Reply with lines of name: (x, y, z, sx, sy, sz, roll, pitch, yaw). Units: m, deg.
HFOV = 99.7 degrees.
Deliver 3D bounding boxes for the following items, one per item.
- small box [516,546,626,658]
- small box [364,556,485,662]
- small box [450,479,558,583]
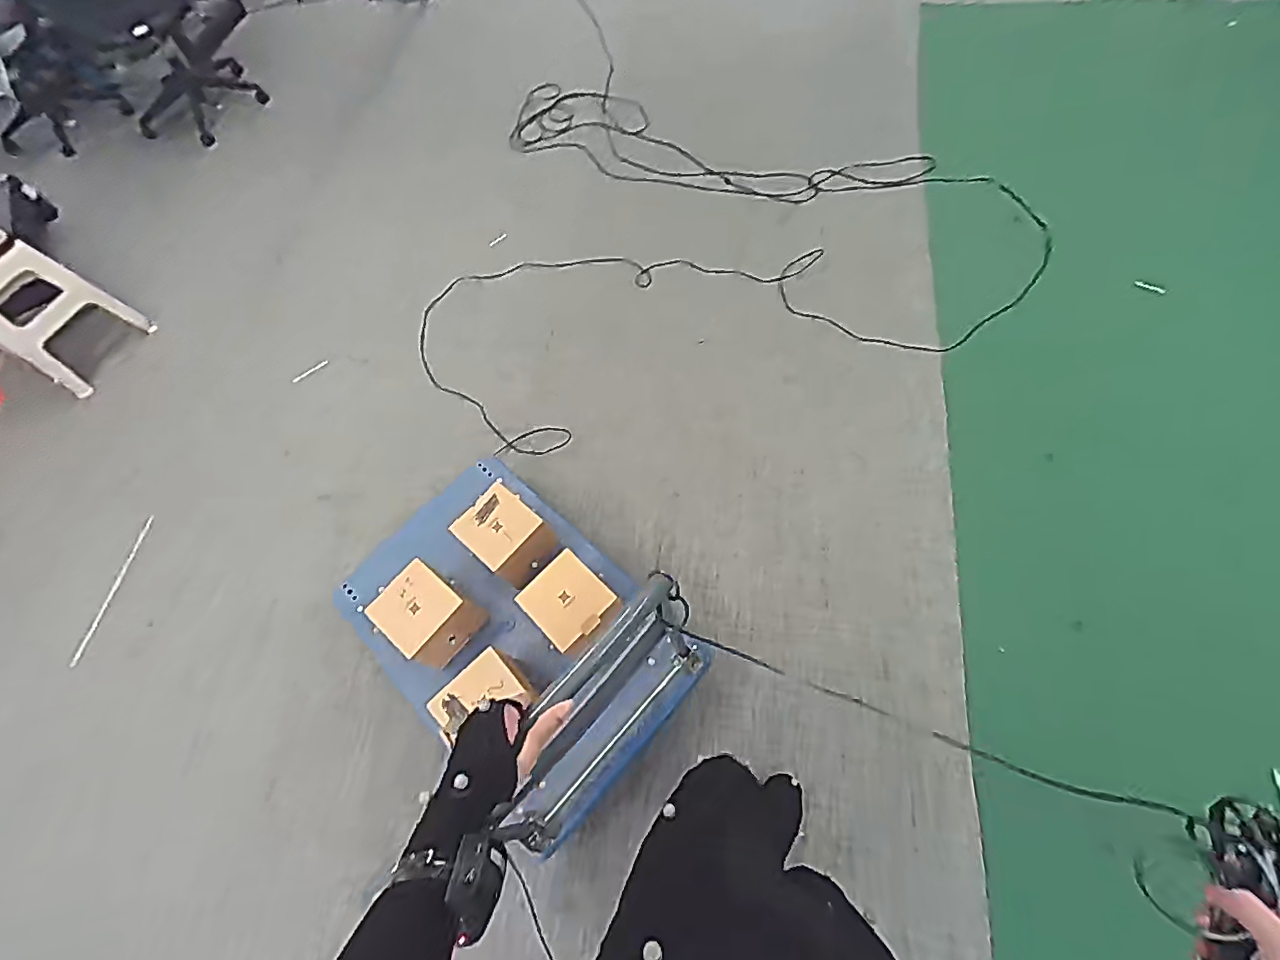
small box: (-0.153, 0.291, 1.261, 0.179, 0.176, 0.168, 40, 75, 22)
small box: (-0.505, 0.316, 1.294, 0.179, 0.176, 0.168, 35, 73, 21)
small box: (-0.335, 0.136, 1.360, 0.179, 0.176, 0.168, 38, 75, 21)
